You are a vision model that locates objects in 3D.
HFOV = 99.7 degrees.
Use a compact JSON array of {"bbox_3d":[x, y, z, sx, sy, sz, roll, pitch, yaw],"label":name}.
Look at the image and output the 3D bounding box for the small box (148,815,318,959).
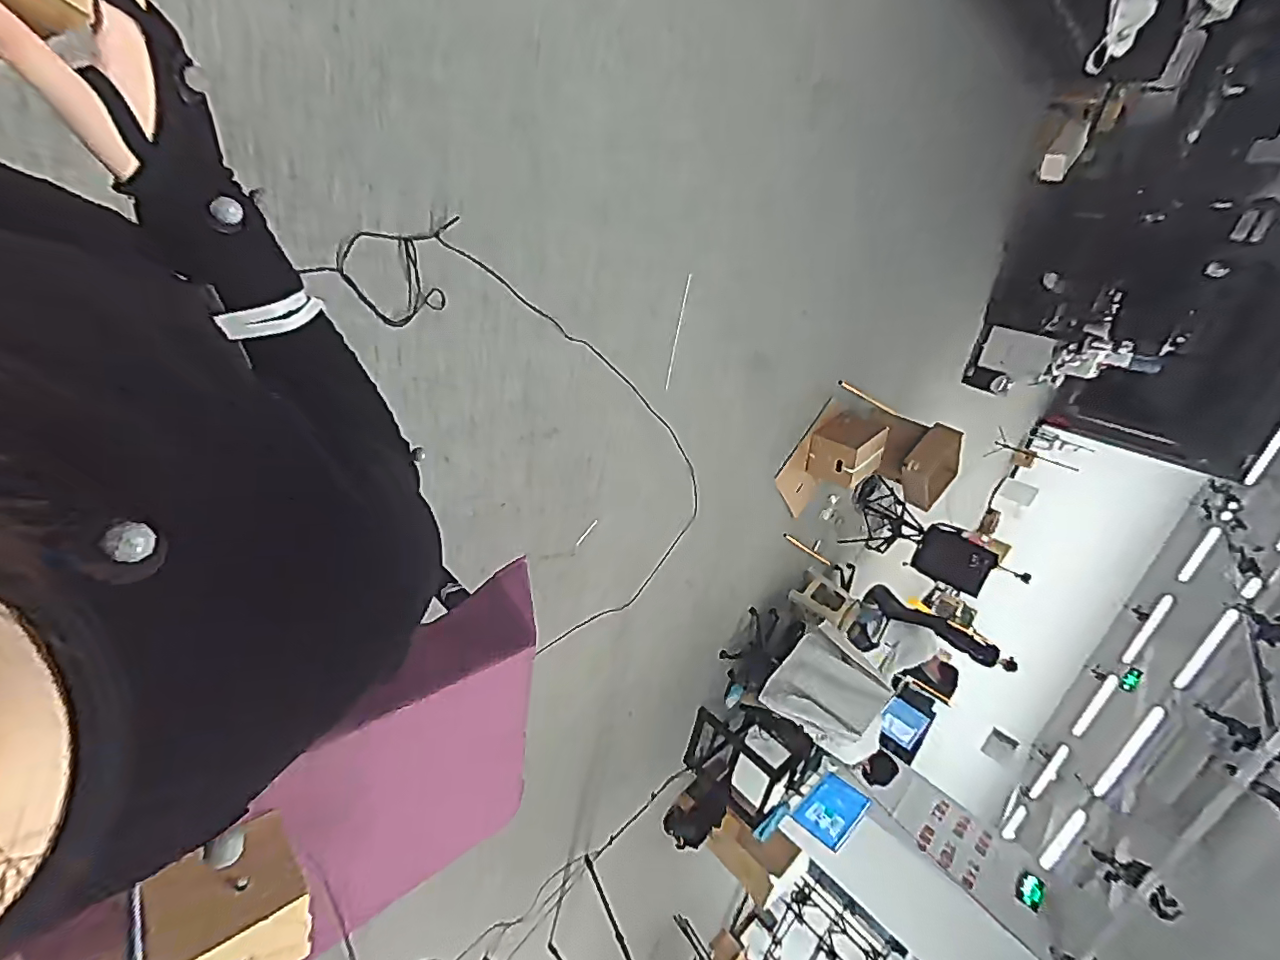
[{"bbox_3d":[-0.622,0.671,0.833,0.179,0.176,0.168,-11,121,-46],"label":"small box"}]
